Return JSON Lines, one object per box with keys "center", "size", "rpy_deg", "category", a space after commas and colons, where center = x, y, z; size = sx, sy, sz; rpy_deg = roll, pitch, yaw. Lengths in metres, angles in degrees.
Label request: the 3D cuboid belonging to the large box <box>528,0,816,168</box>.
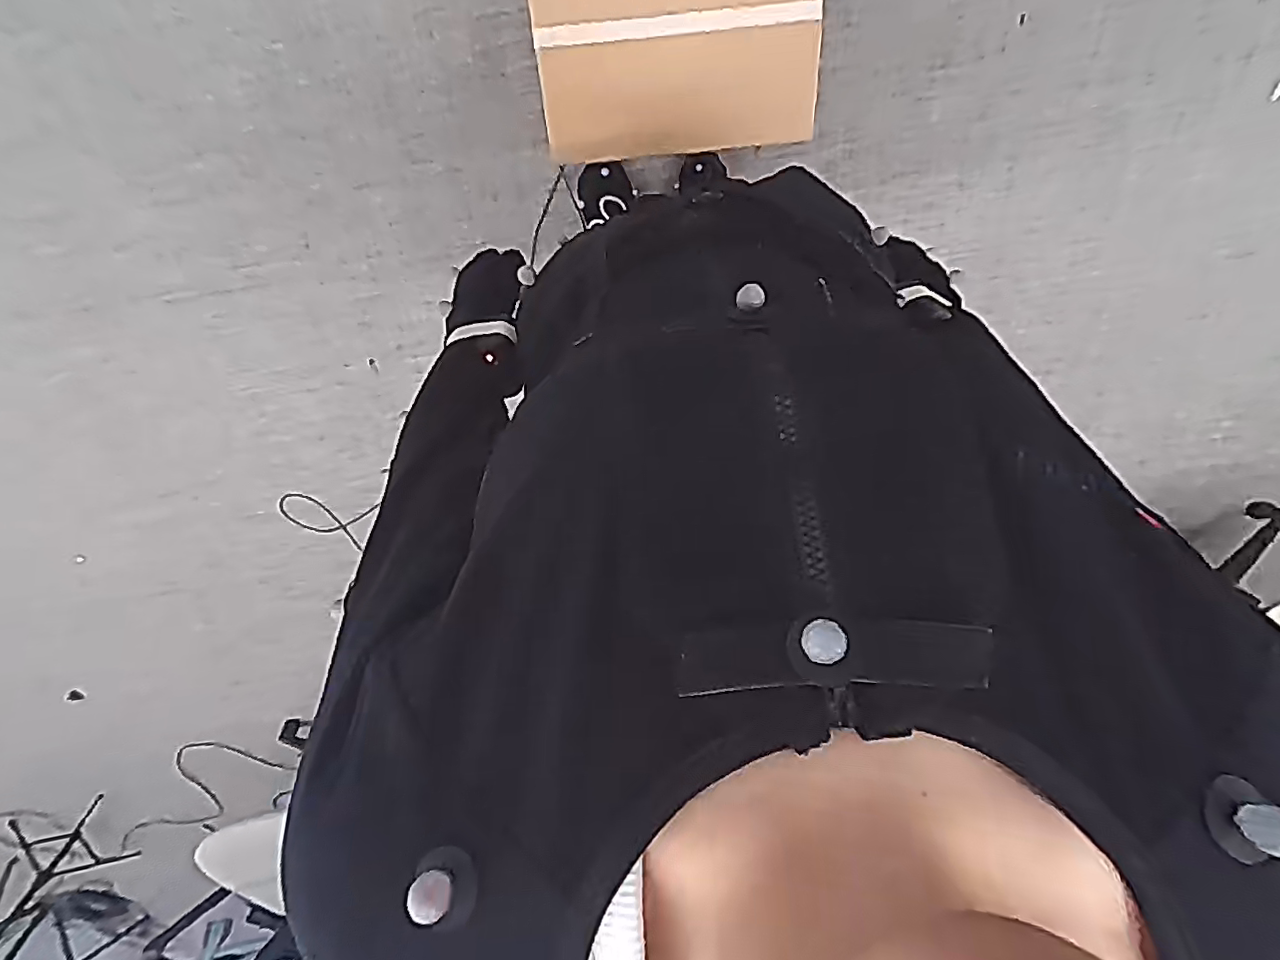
{"center": [0.042, -0.716, 0.881], "size": [0.408, 0.320, 0.320], "rpy_deg": [-5, 123, 0], "category": "large box"}
